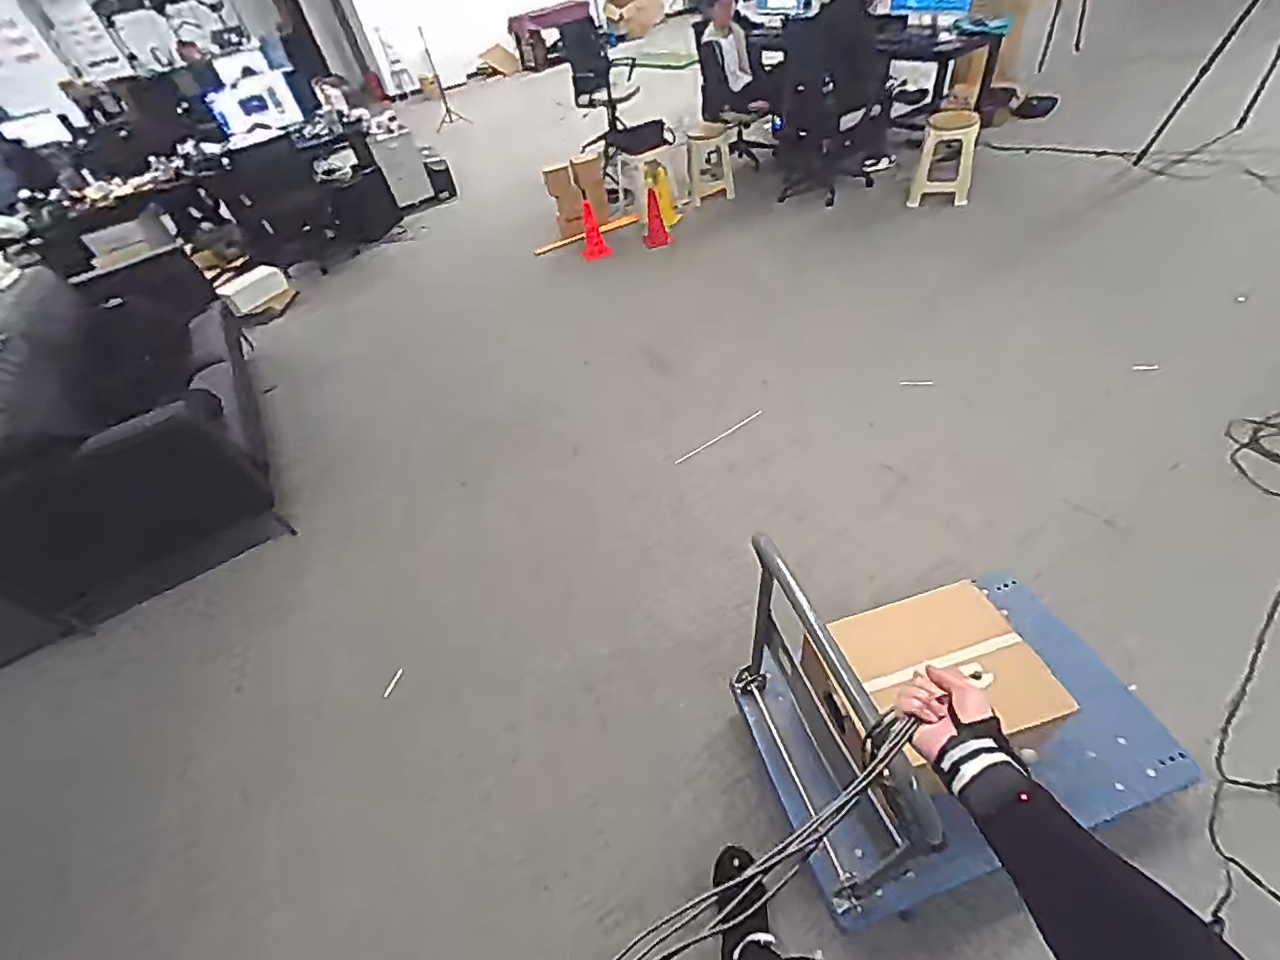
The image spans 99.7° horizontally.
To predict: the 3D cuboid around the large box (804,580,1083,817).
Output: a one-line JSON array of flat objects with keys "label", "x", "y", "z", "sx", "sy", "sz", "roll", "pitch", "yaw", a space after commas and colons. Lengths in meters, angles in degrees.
[{"label": "large box", "x": 0.624, "y": 0.485, "z": 1.201, "sx": 0.408, "sy": 0.320, "sz": 0.320, "roll": -16, "pitch": 46, "yaw": -4}]
